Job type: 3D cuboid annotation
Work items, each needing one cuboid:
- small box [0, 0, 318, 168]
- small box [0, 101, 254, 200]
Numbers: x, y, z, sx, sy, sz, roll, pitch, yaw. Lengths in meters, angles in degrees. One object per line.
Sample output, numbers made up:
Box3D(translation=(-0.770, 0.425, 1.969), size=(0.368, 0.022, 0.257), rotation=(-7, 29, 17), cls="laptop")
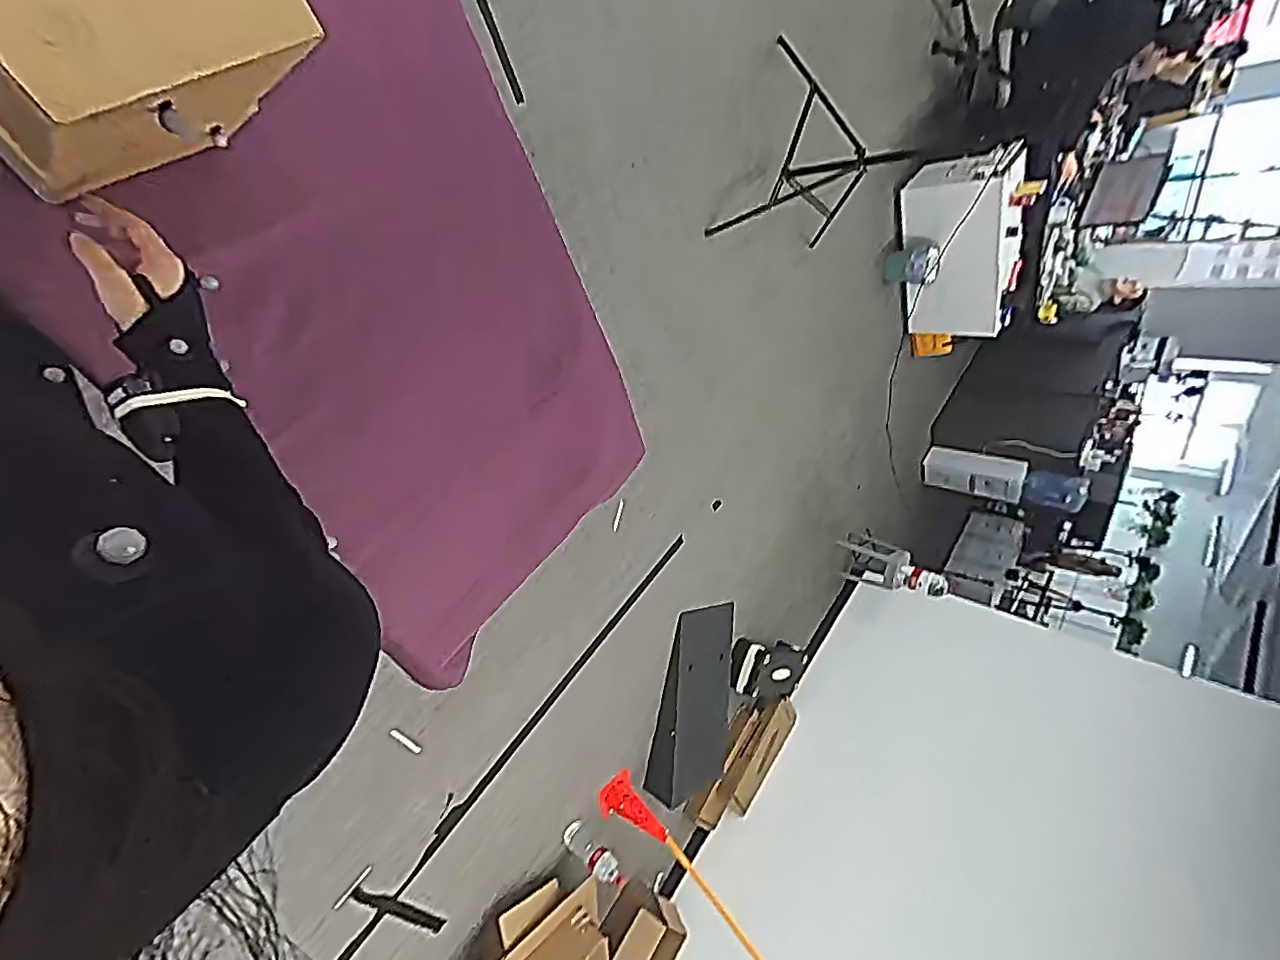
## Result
Box3D(translation=(-0.360, -0.326, 0.346), size=(0.179, 0.176, 0.168), rotation=(-48, 133, -26), cls="small box")
Box3D(translation=(-0.480, -0.357, 0.453), size=(0.179, 0.176, 0.168), rotation=(-47, 133, -28), cls="small box")
